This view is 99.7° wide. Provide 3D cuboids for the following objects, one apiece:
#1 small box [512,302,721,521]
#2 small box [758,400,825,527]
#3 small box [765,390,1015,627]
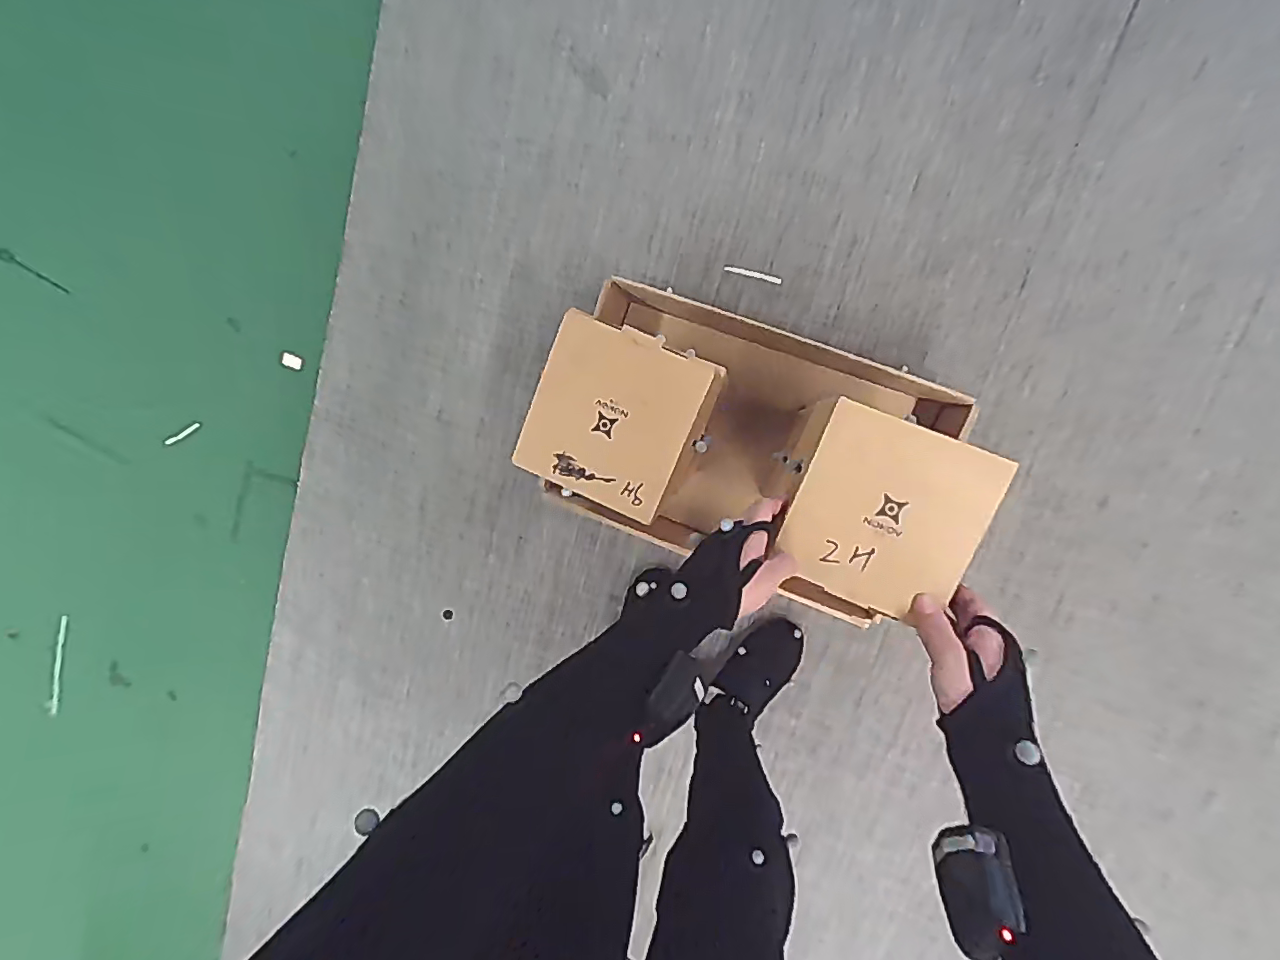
[{"bbox_3d":[-0.016,-0.076,0.626,0.168,0.176,0.179,25,99,7],"label":"small box"},{"bbox_3d":[0.276,0.004,0.745,0.168,0.176,0.179,24,99,9],"label":"small box"},{"bbox_3d":[0.240,0.020,0.576,0.168,0.176,0.179,23,99,8],"label":"small box"}]
